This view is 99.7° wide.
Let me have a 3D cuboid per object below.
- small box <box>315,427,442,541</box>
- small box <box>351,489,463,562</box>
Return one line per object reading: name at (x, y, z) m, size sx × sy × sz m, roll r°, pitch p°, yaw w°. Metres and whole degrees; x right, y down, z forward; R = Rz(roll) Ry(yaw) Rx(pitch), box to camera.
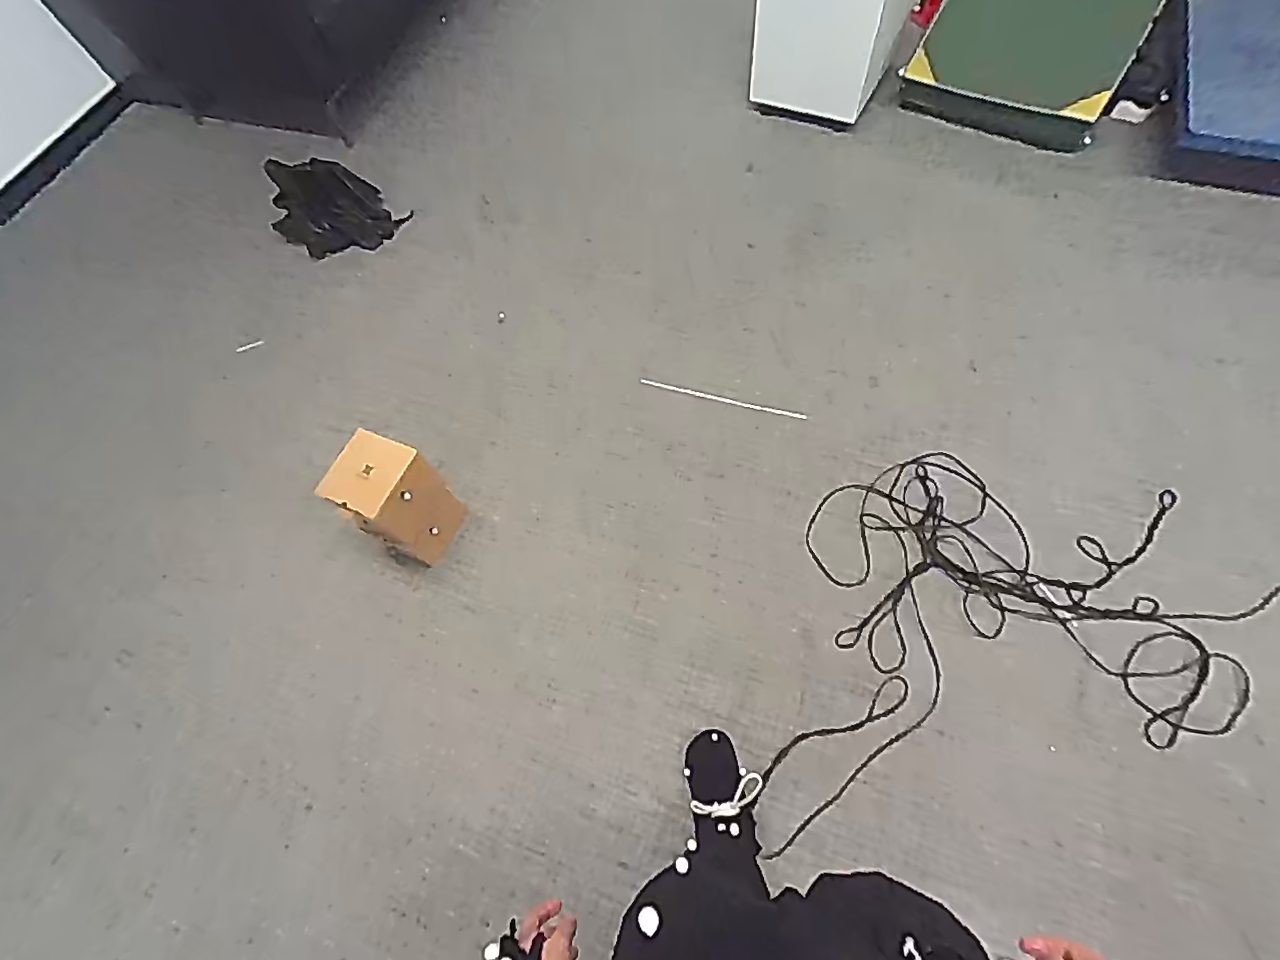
small box at (-0.582, 0.013, 1.235) m, size 0.168 × 0.176 × 0.179 m, roll 20°, pitch 69°, yaw 14°
small box at (-0.583, 0.090, 1.380) m, size 0.168 × 0.176 × 0.179 m, roll 19°, pitch 69°, yaw 14°
